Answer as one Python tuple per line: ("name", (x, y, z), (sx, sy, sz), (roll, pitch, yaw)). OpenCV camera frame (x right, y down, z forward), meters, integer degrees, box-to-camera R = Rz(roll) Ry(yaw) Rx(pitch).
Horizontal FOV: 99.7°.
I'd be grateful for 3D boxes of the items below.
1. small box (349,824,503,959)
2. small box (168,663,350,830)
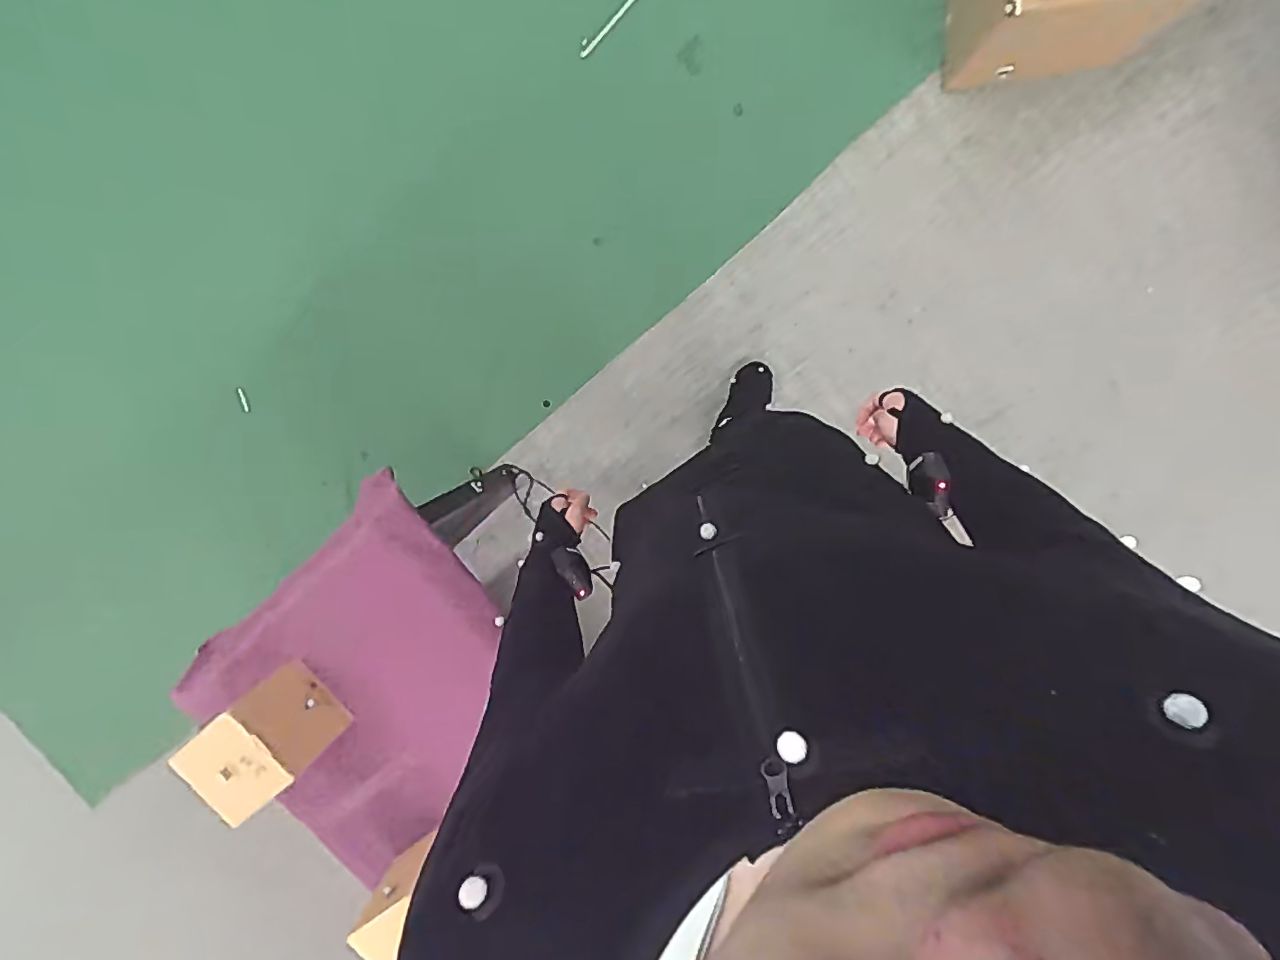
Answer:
("small box", (-0.391, 0.808, 1.021), (0.179, 0.176, 0.168), (-40, 94, 11))
("small box", (-0.678, 0.475, 0.983), (0.179, 0.176, 0.168), (-39, 96, 12))
